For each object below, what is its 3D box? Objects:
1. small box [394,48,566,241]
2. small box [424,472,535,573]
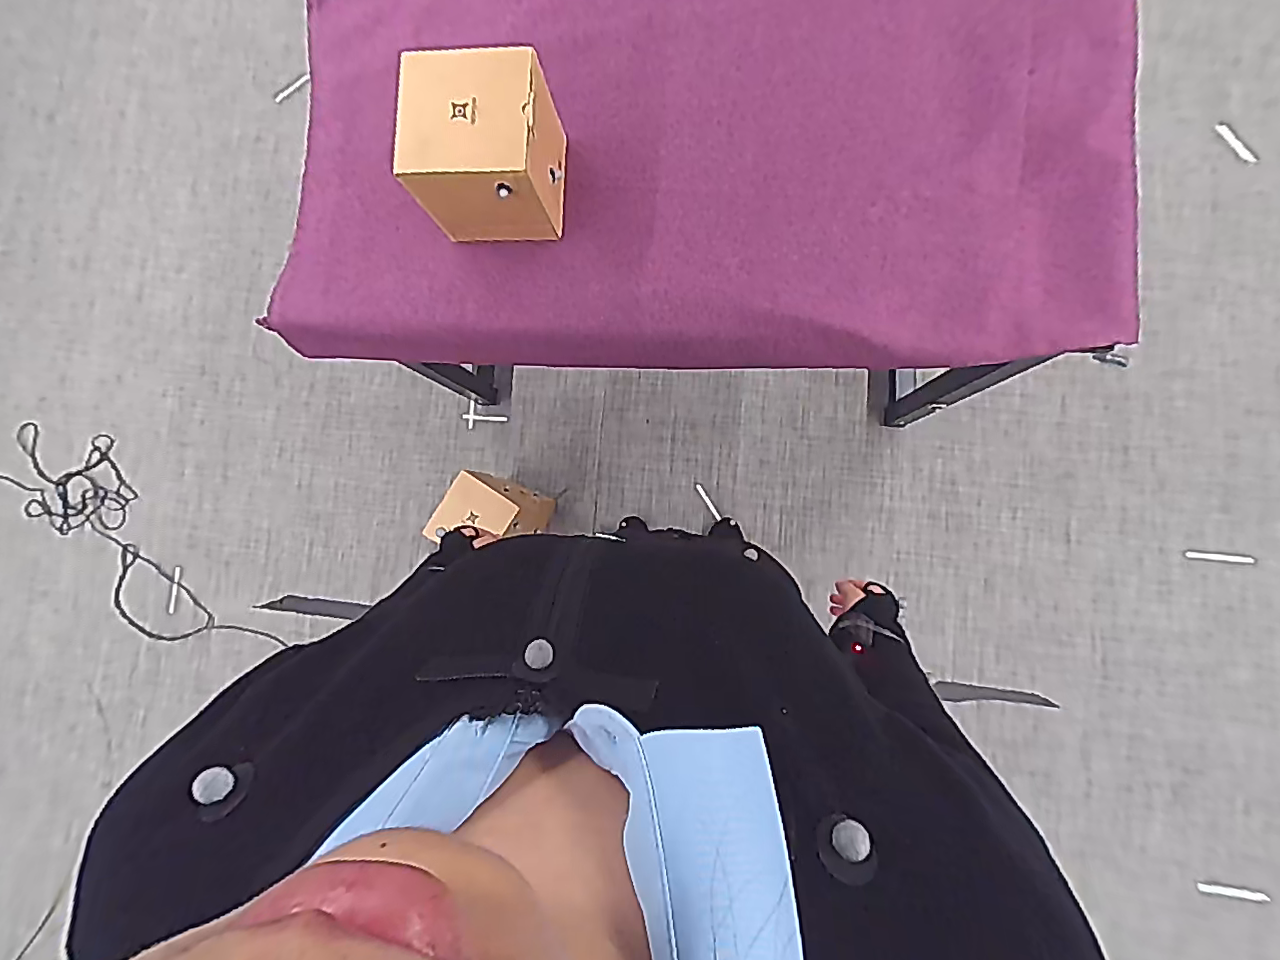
[{"bbox_3d":[-0.212,-0.453,0.755,0.179,0.176,0.168,1,86,5],"label":"small box"},{"bbox_3d":[-0.372,0.099,1.298,0.168,0.176,0.179,32,91,7],"label":"small box"}]
